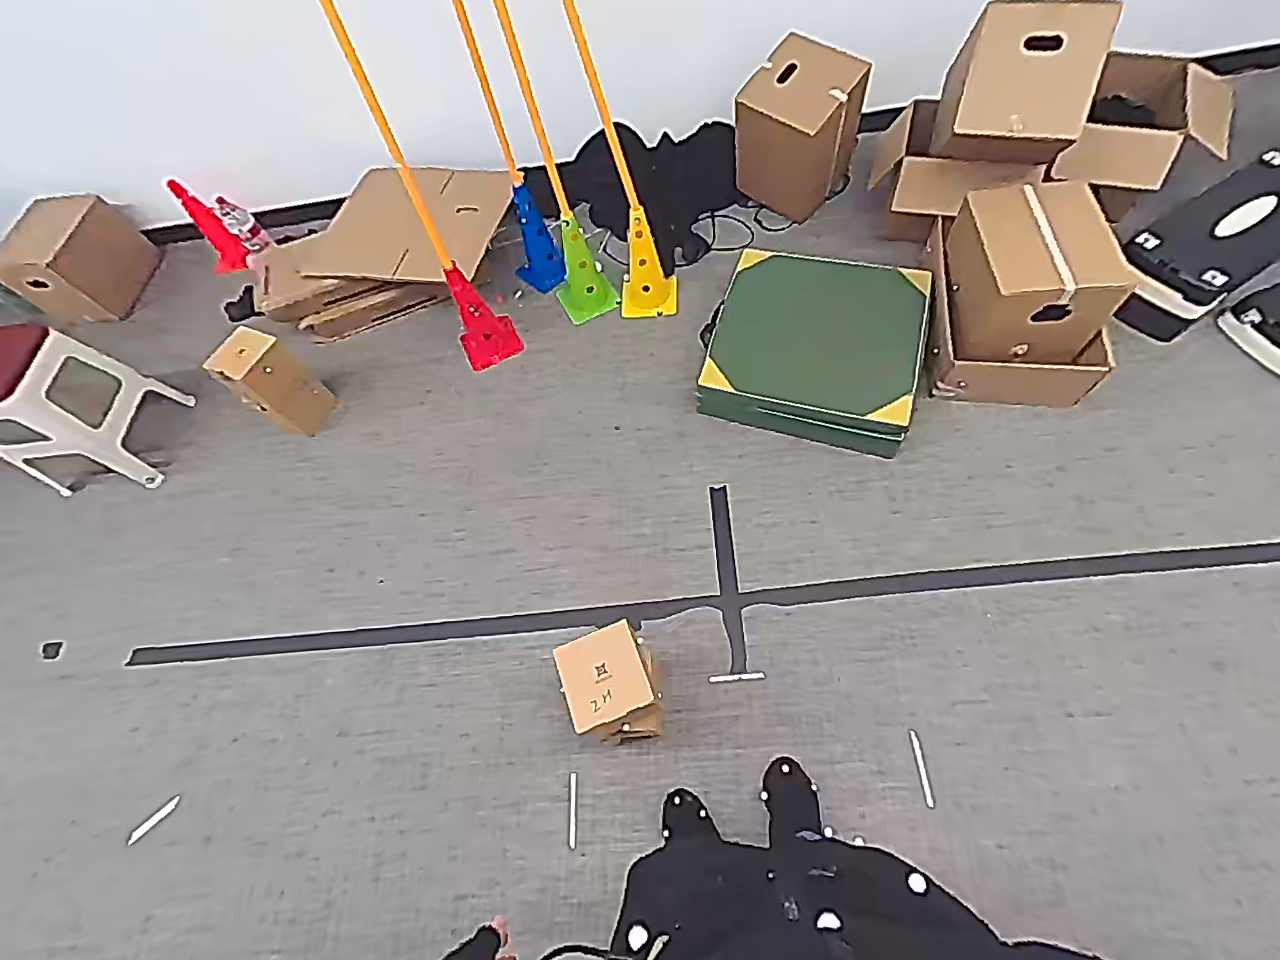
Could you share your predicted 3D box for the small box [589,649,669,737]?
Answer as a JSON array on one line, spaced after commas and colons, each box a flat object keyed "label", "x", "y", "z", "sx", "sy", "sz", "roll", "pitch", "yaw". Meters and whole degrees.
[{"label": "small box", "x": -0.025, "y": 0.514, "z": 1.292, "sx": 0.168, "sy": 0.176, "sz": 0.179, "roll": -8, "pitch": 61, "yaw": 5}]

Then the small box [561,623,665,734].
[{"label": "small box", "x": -0.053, "y": 0.429, "z": 1.154, "sx": 0.168, "sy": 0.176, "sz": 0.179, "roll": -19, "pitch": 63, "yaw": 0}]
